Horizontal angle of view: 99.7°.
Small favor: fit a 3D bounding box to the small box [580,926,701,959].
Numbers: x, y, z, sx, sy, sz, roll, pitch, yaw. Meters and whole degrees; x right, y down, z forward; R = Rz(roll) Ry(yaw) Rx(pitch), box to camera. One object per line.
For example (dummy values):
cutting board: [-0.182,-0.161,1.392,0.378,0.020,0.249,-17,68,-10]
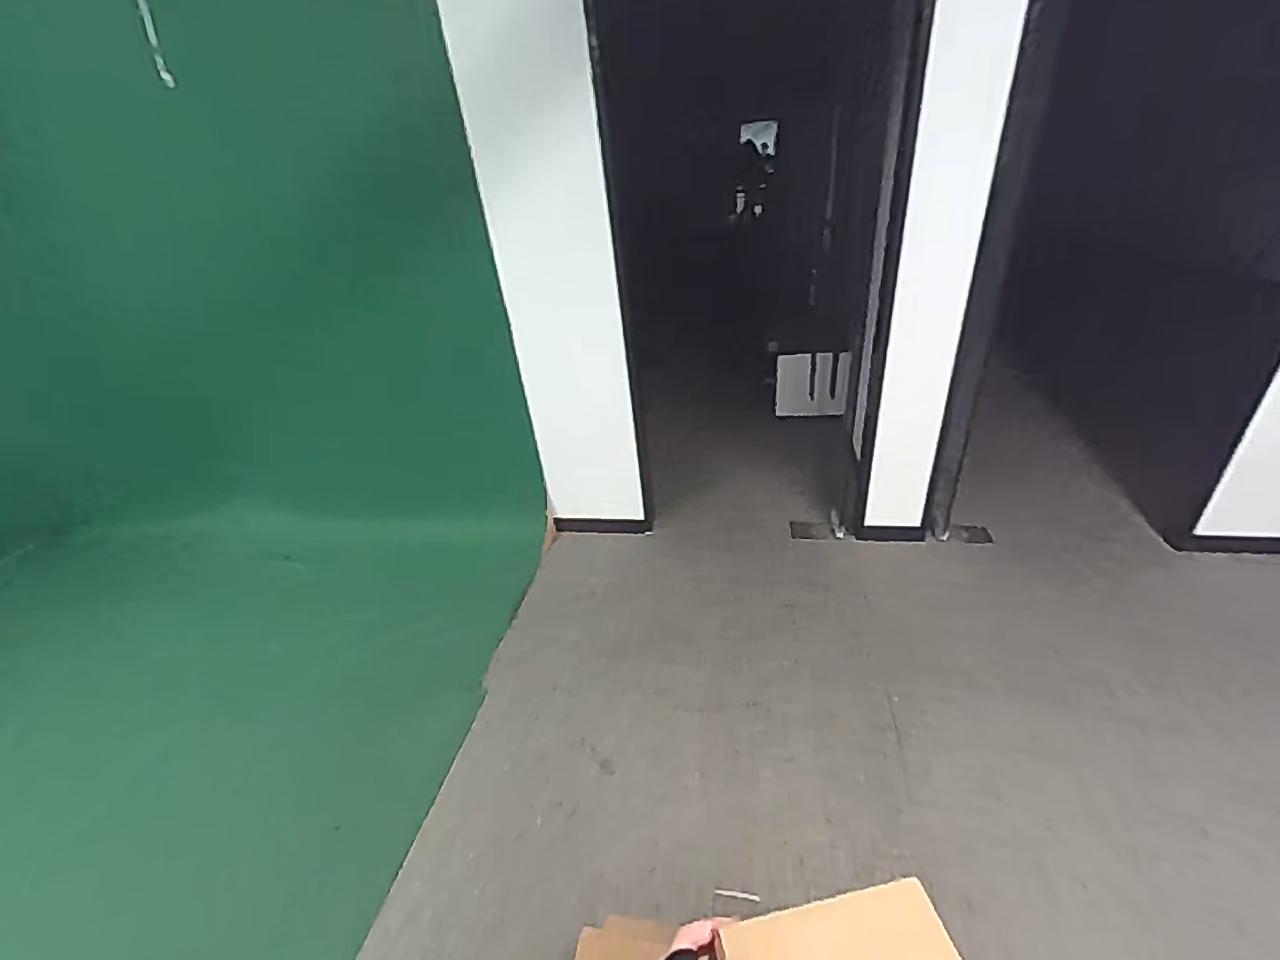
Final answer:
small box: [-0.006,0.749,0.720,0.168,0.176,0.179,3,33,13]
